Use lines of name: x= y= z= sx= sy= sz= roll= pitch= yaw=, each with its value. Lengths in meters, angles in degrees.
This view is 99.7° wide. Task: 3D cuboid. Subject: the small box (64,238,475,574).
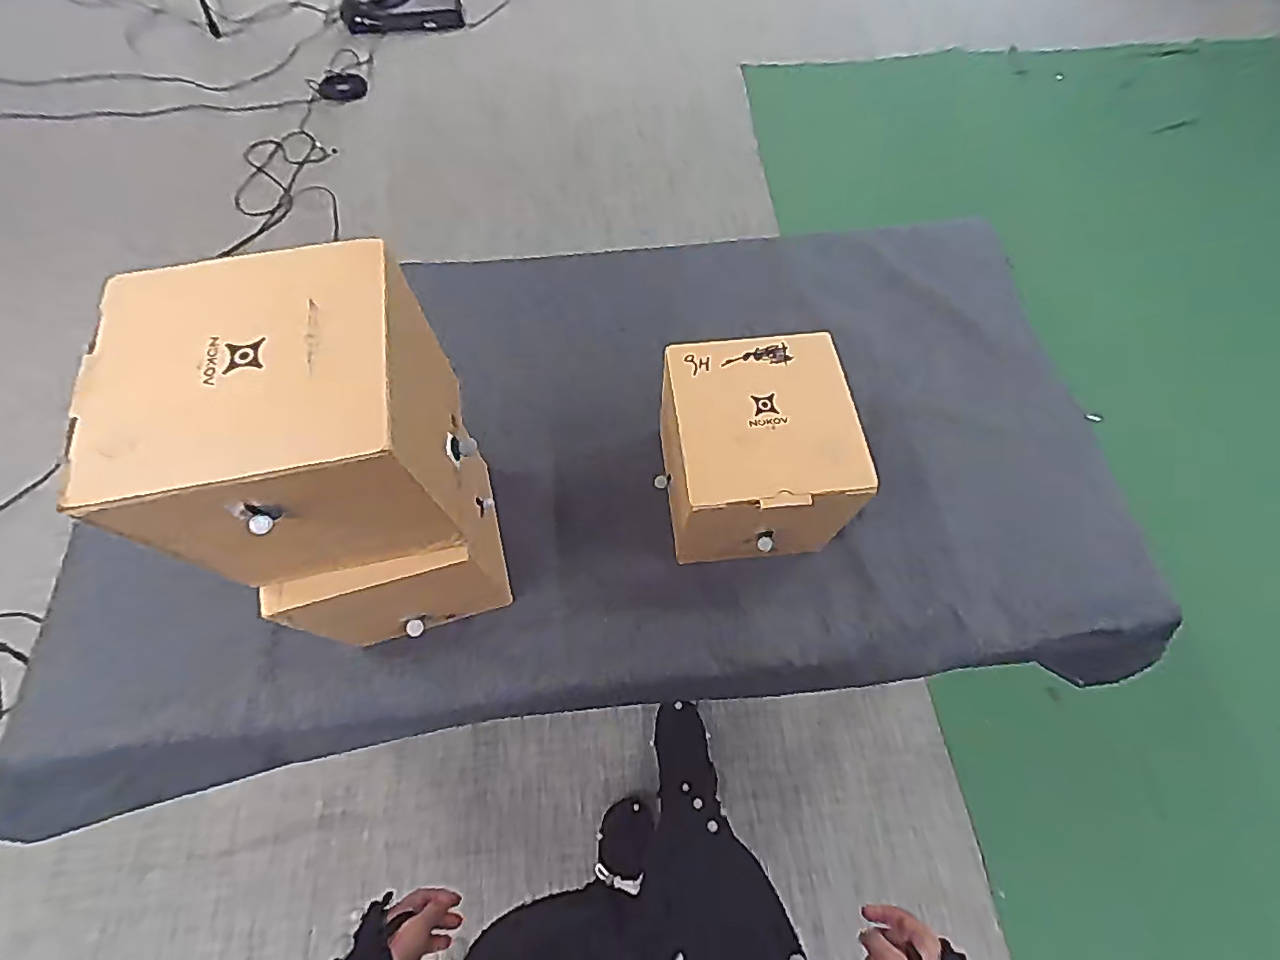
small box: x=-0.235 y=-0.041 z=0.395 sx=0.179 sy=0.176 sz=0.168 roll=-11 pitch=67 yaw=-6

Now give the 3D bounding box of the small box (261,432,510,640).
small box: x=-0.238 y=0.042 z=0.536 sx=0.168 sy=0.176 sz=0.179 roll=-15 pitch=67 yaw=-7

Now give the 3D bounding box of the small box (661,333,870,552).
small box: x=0.113 y=-0.028 z=0.572 sx=0.168 sy=0.176 sz=0.179 roll=-5 pitch=66 yaw=-3
